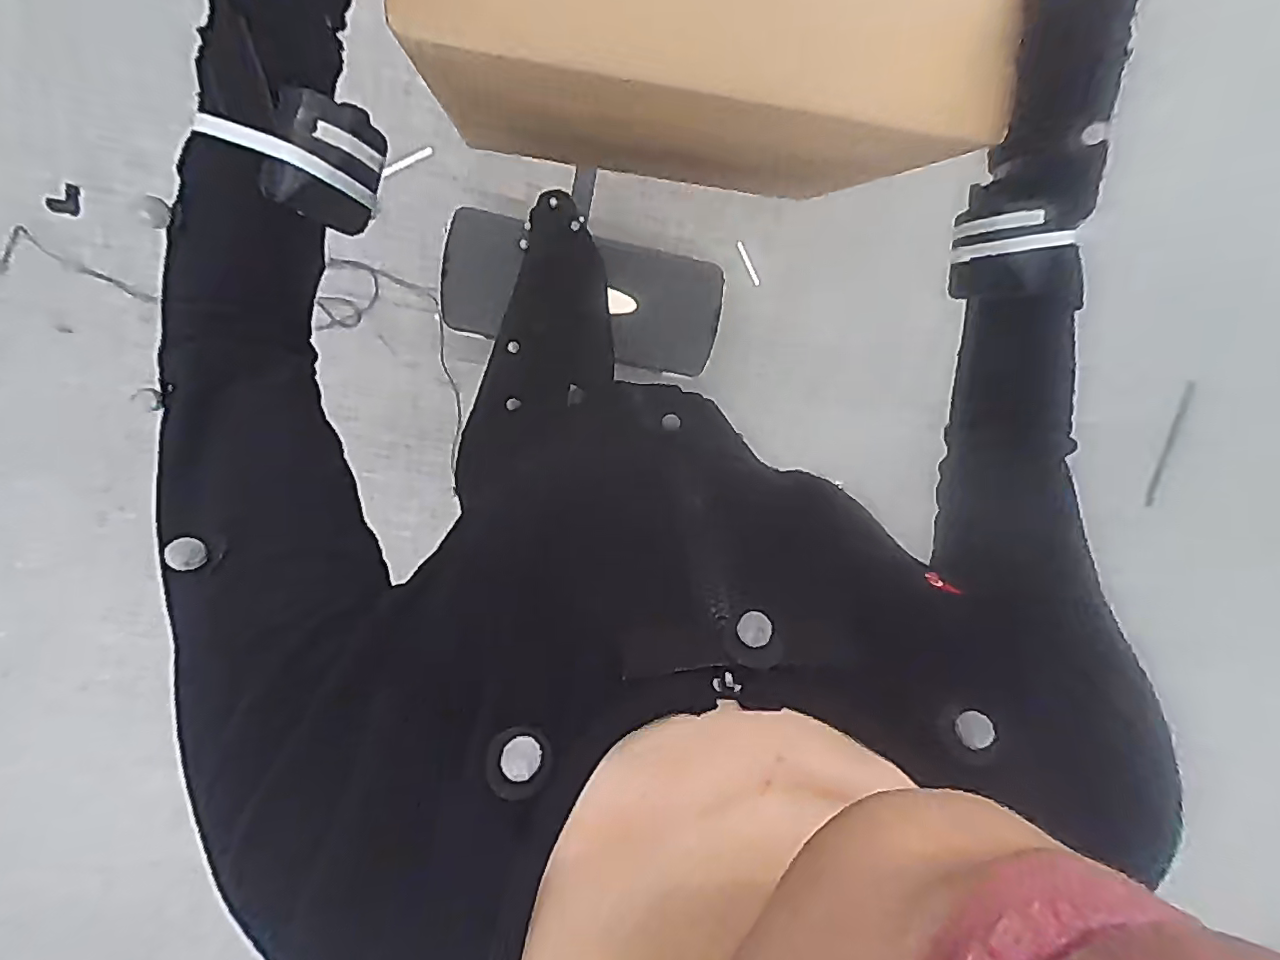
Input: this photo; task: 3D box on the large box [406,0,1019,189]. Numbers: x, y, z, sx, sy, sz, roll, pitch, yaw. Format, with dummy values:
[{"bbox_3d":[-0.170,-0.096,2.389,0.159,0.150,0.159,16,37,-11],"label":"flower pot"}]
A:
[{"bbox_3d":[0.042,-0.451,0.441,0.408,0.320,0.320,2,111,-11],"label":"large box"}]
